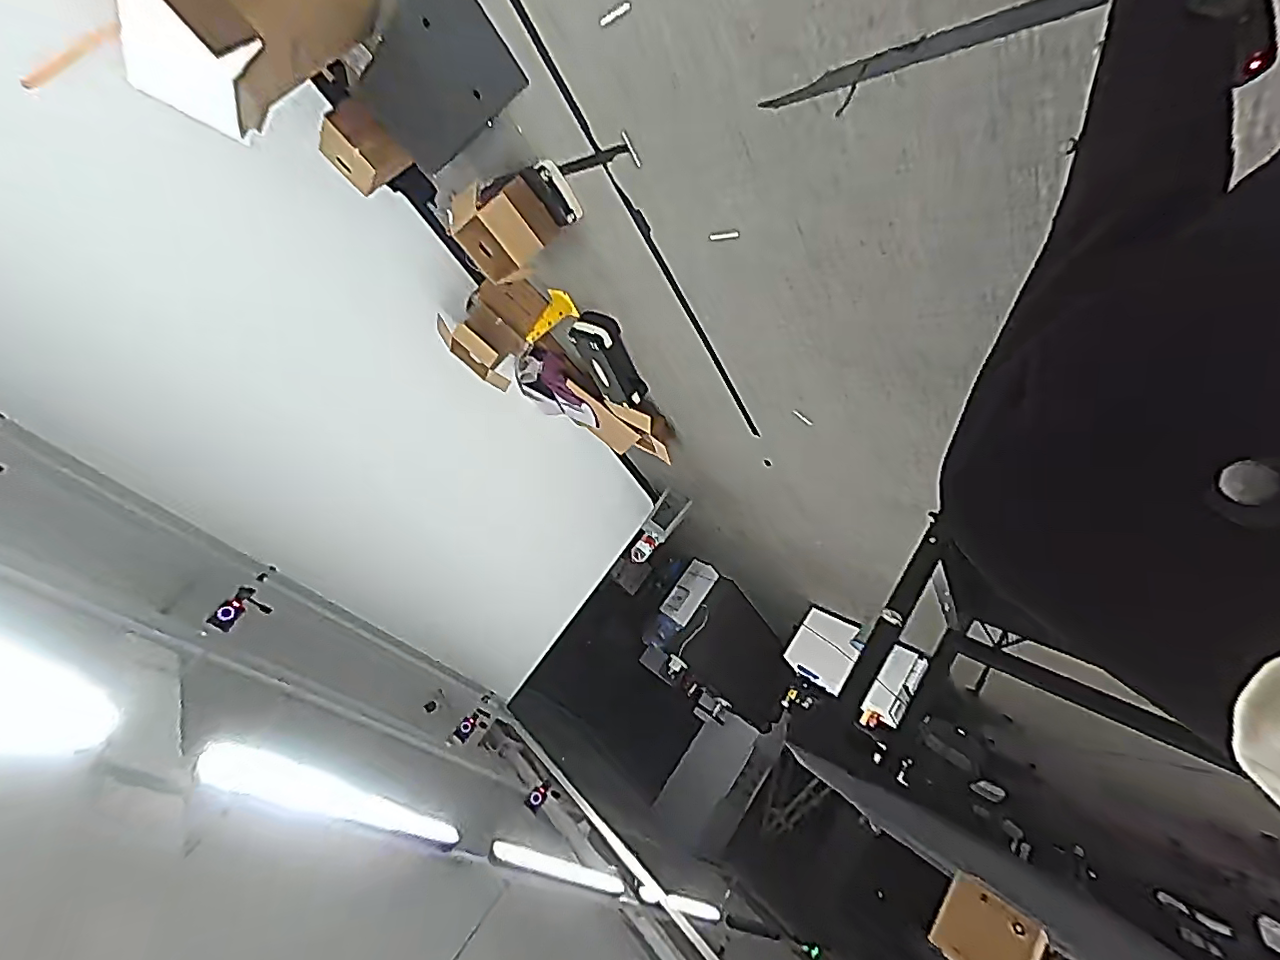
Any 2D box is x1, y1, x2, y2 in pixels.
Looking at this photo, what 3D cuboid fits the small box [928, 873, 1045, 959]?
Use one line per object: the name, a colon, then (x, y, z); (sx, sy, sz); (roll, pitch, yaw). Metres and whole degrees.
small box: (0.781, 1.025, 1.214); (0.168, 0.176, 0.179); (18, 156, 49)
